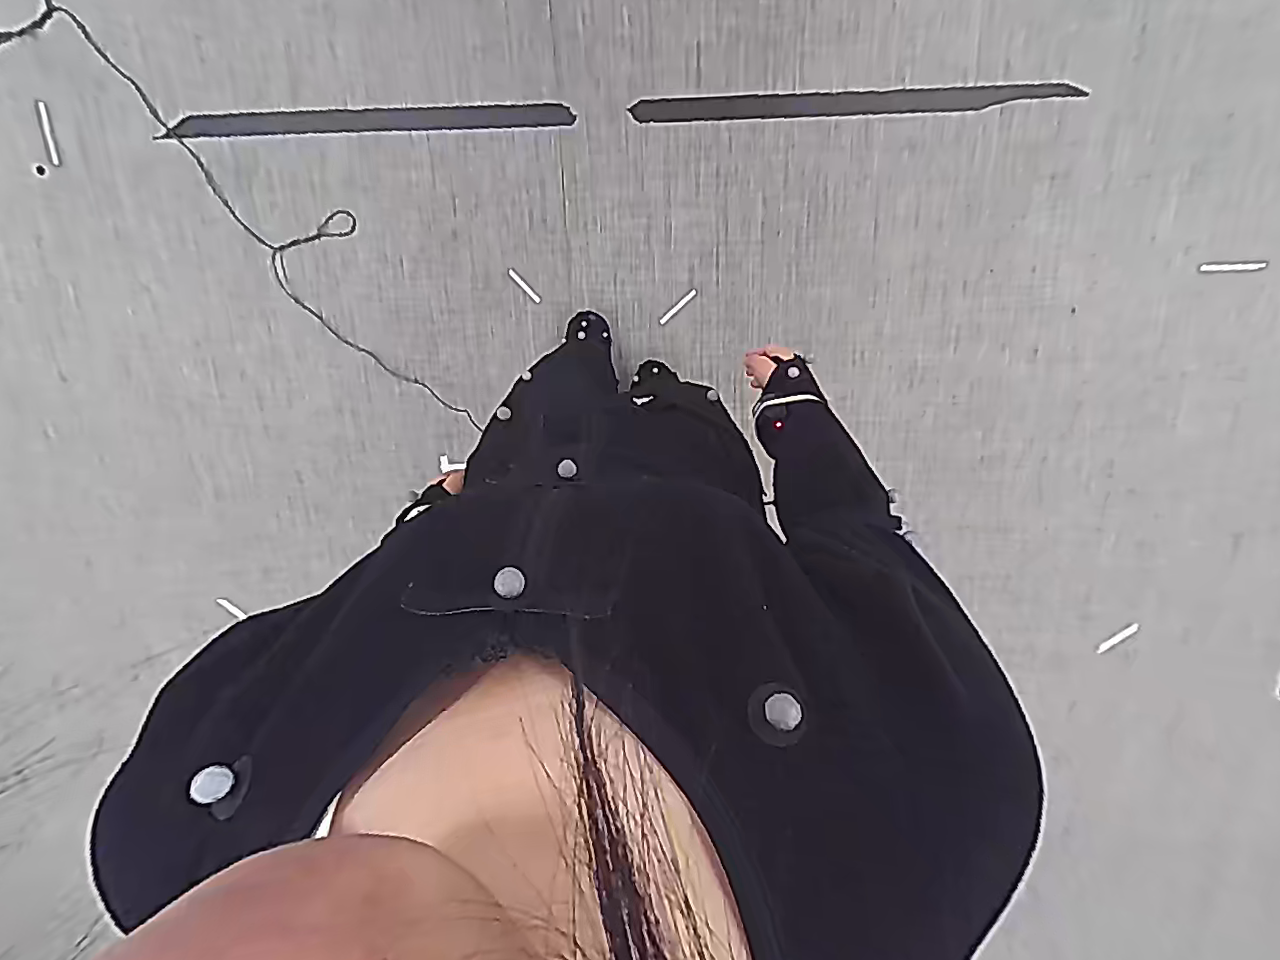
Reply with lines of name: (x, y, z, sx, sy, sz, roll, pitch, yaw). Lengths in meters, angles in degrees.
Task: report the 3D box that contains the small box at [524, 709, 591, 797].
small box: (-0.243, 0.820, 1.630, 0.168, 0.176, 0.179, -3, 105, 2)
